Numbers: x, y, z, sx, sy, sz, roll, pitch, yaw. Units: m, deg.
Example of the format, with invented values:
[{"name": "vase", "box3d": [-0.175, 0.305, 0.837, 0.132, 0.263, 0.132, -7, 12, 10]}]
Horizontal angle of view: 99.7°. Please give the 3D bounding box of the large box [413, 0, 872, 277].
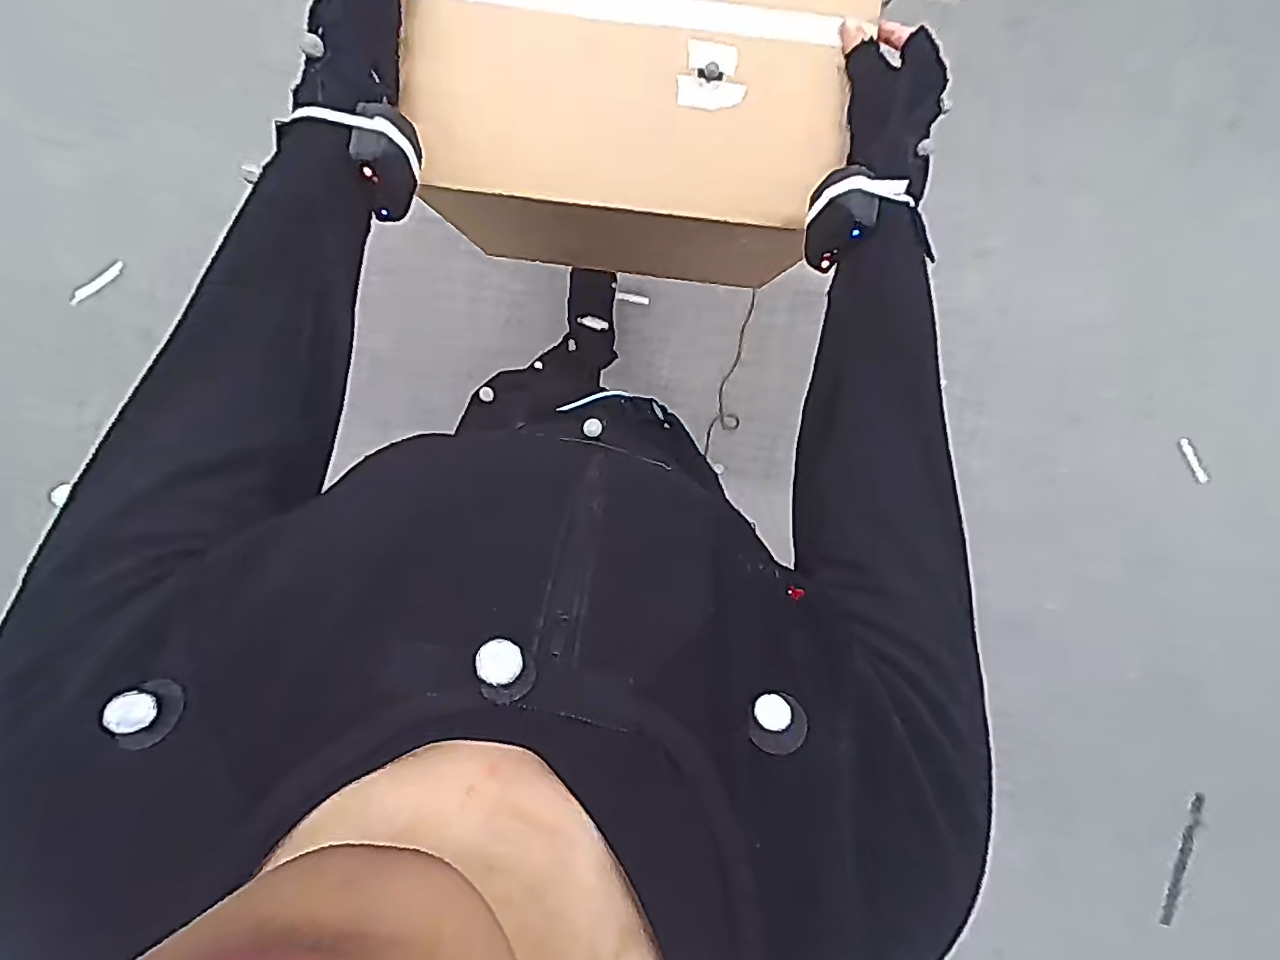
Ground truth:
[{"name": "large box", "box3d": [-0.002, -0.436, 0.618, 0.408, 0.320, 0.320, 5, 101, -3]}]
